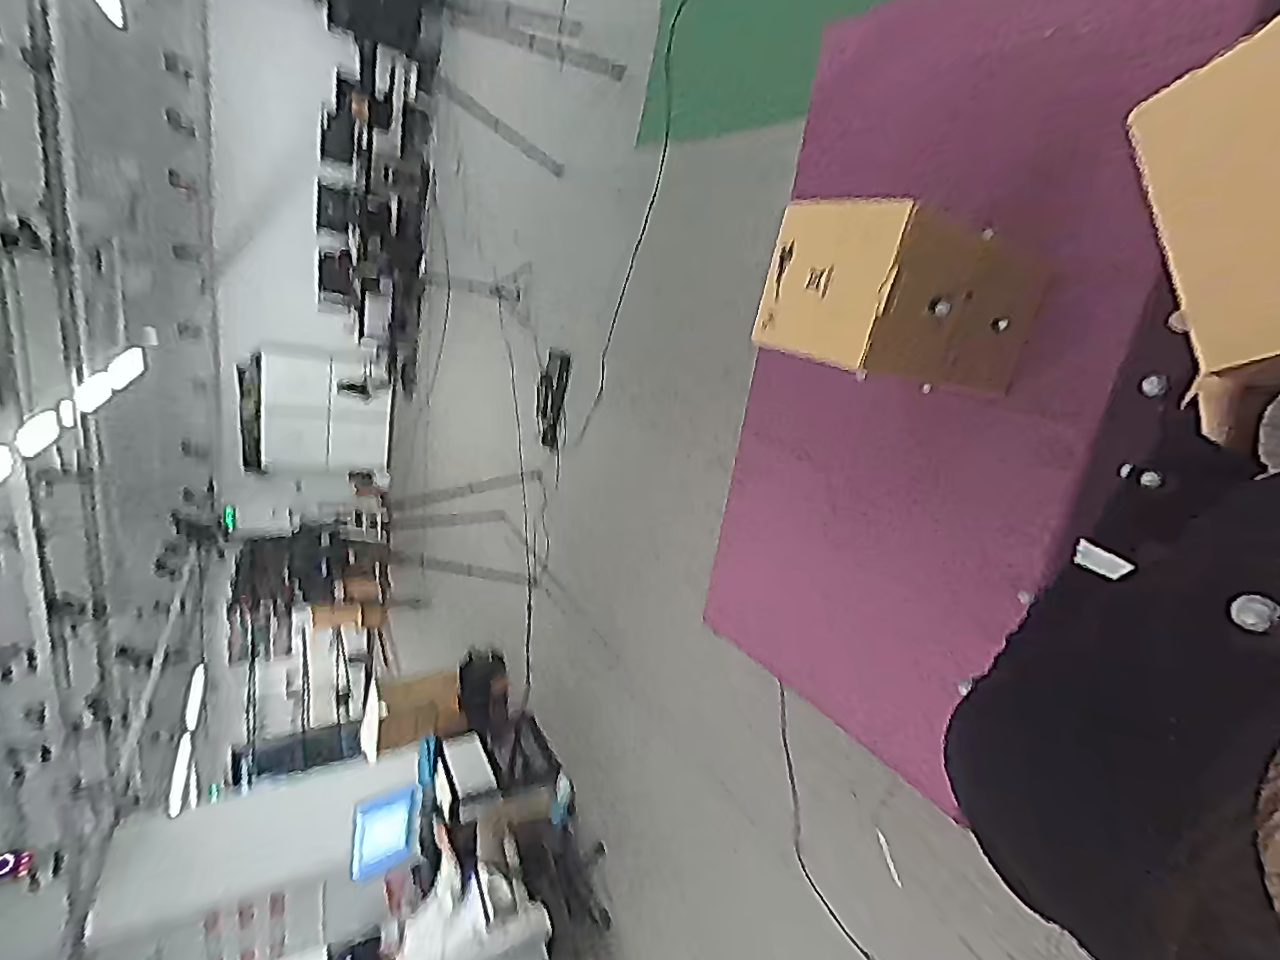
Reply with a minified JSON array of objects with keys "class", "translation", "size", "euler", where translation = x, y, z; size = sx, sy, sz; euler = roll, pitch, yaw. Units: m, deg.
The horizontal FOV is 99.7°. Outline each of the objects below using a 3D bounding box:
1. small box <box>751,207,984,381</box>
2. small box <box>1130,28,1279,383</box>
[{"class":"small box","translation":[0.273,-0.222,0.657],"size":[0.179,0.176,0.168],"euler":[37,120,50]},{"class":"small box","translation":[0.426,-0.159,0.296],"size":[0.168,0.176,0.179],"euler":[-22,70,60]}]
